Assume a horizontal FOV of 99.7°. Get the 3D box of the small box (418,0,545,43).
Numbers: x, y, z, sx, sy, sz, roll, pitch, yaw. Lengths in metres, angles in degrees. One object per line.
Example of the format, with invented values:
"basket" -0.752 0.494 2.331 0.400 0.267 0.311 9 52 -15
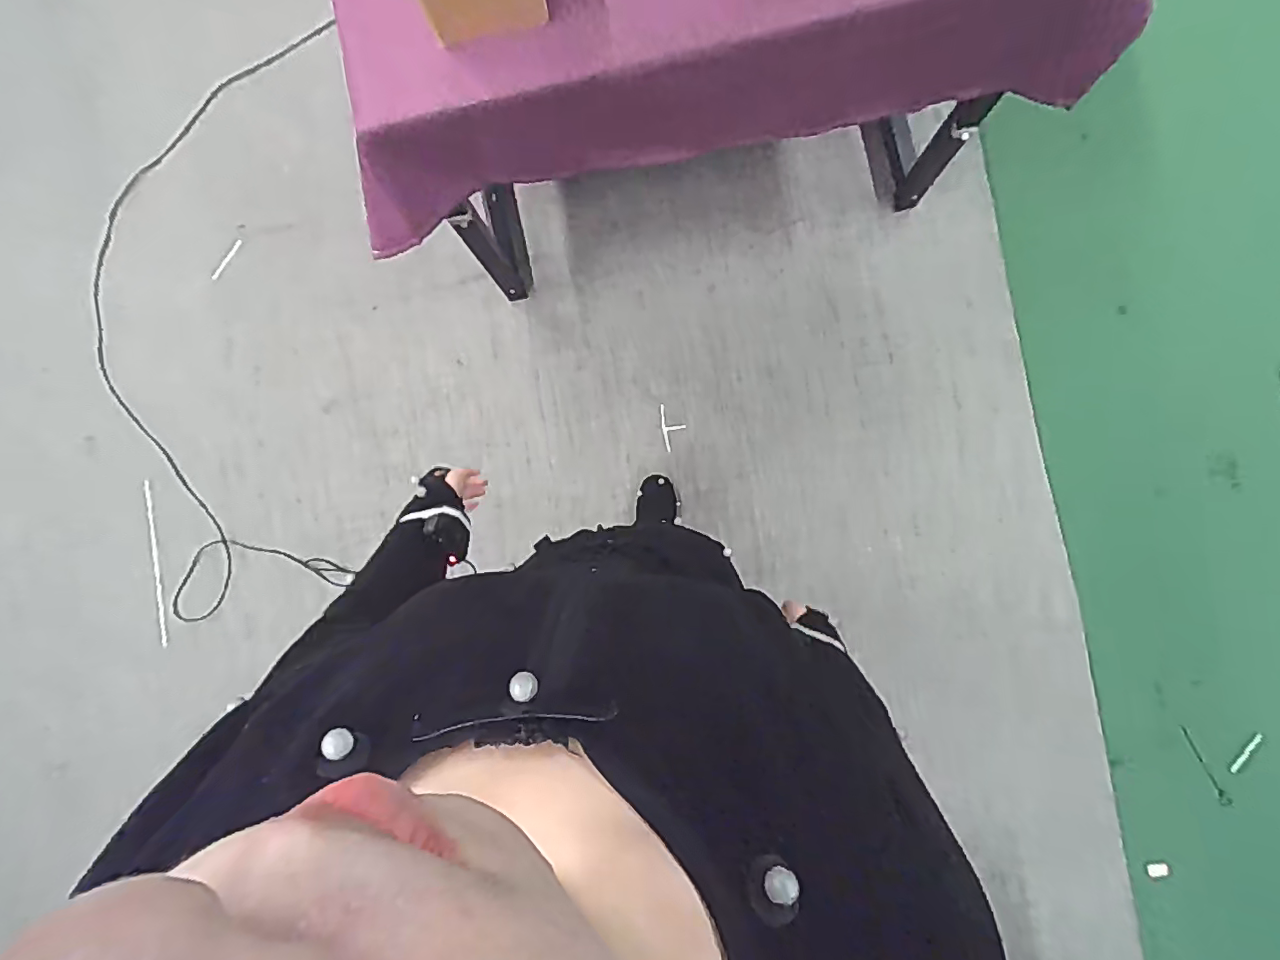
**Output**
"small box" -0.249 -0.774 0.769 0.179 0.176 0.168 -11 85 2
